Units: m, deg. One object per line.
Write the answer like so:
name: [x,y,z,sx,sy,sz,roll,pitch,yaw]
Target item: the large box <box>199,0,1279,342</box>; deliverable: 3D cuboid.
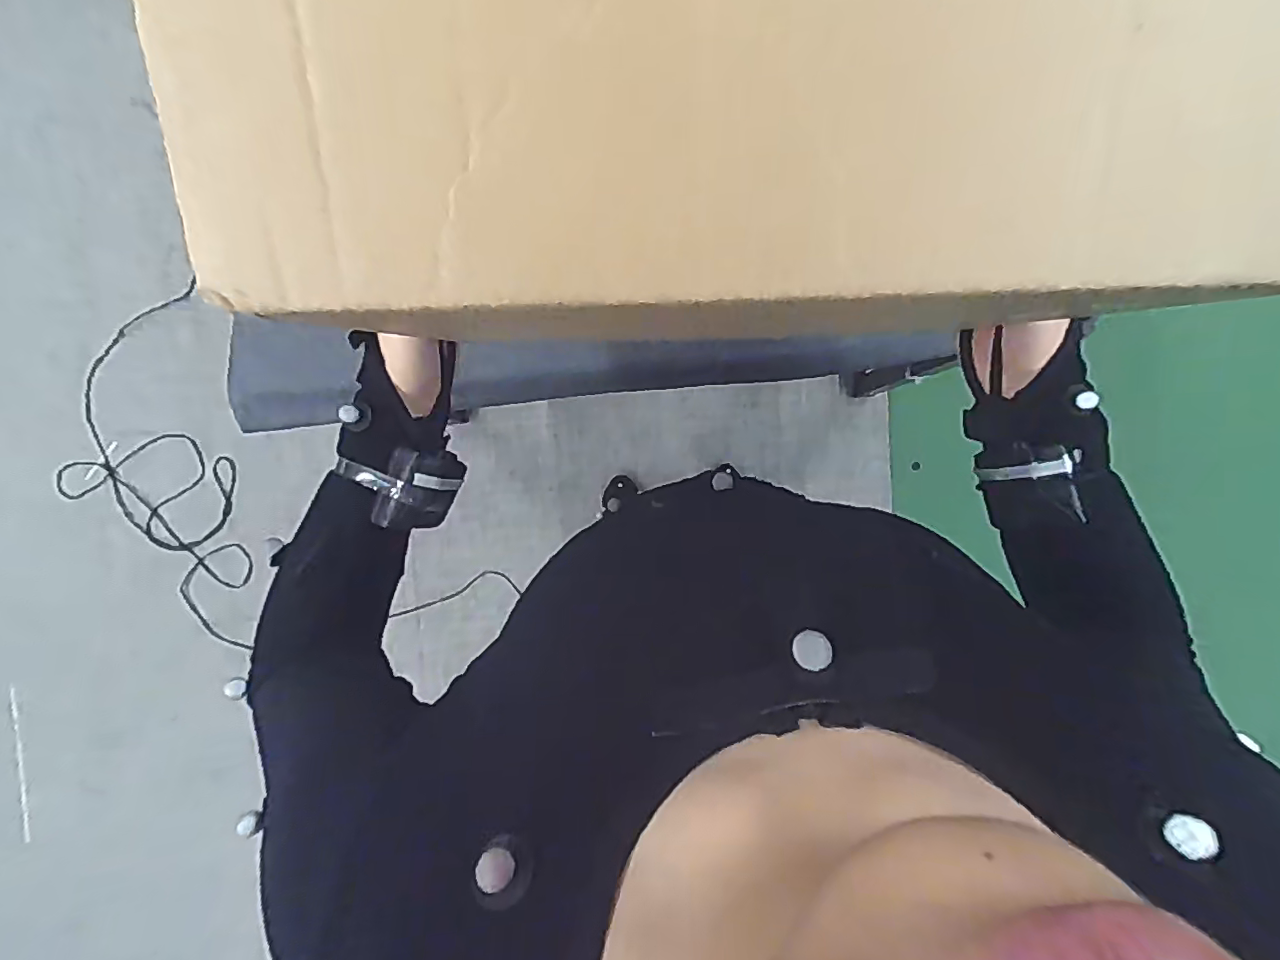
large box: [0.049,-0.254,0.311,0.408,0.320,0.320,-2,103,0]
